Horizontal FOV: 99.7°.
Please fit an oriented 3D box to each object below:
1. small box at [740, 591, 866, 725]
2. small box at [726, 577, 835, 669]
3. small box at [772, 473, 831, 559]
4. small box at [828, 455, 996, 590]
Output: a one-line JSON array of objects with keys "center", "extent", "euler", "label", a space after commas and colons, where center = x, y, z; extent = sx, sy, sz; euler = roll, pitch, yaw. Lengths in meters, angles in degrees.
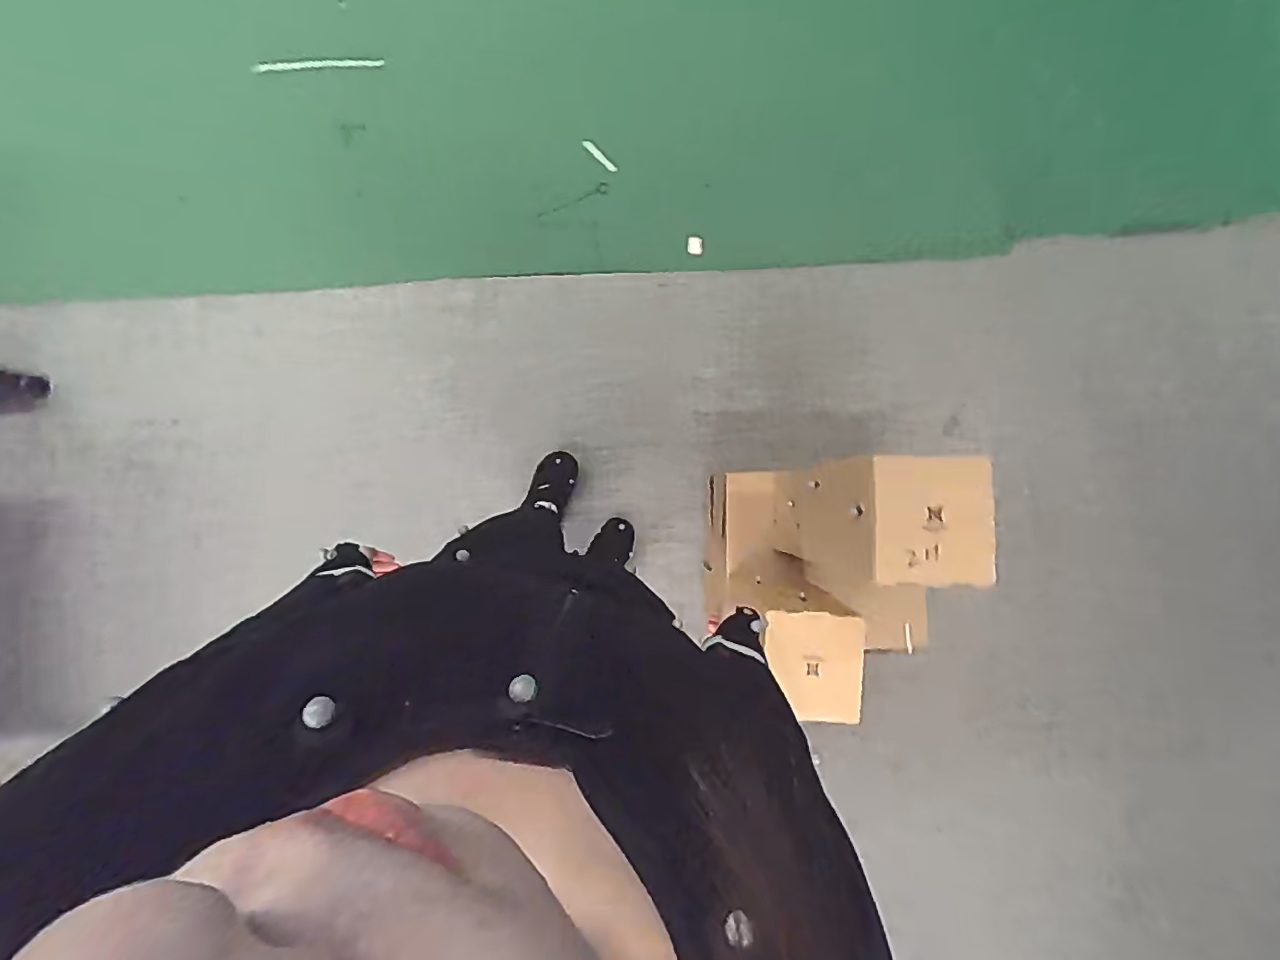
[{"center": [0.277, 0.304, 0.953], "extent": [0.168, 0.176, 0.179], "euler": [5, 89, -2], "label": "small box"}, {"center": [0.280, 0.298, 1.116], "extent": [0.179, 0.176, 0.168], "euler": [4, 89, -3], "label": "small box"}, {"center": [0.390, 0.076, 1.128], "extent": [0.179, 0.176, 0.168], "euler": [4, 87, -3], "label": "small box"}, {"center": [0.388, 0.061, 0.798], "extent": [0.168, 0.176, 0.179], "euler": [2, 87, -2], "label": "small box"}]
